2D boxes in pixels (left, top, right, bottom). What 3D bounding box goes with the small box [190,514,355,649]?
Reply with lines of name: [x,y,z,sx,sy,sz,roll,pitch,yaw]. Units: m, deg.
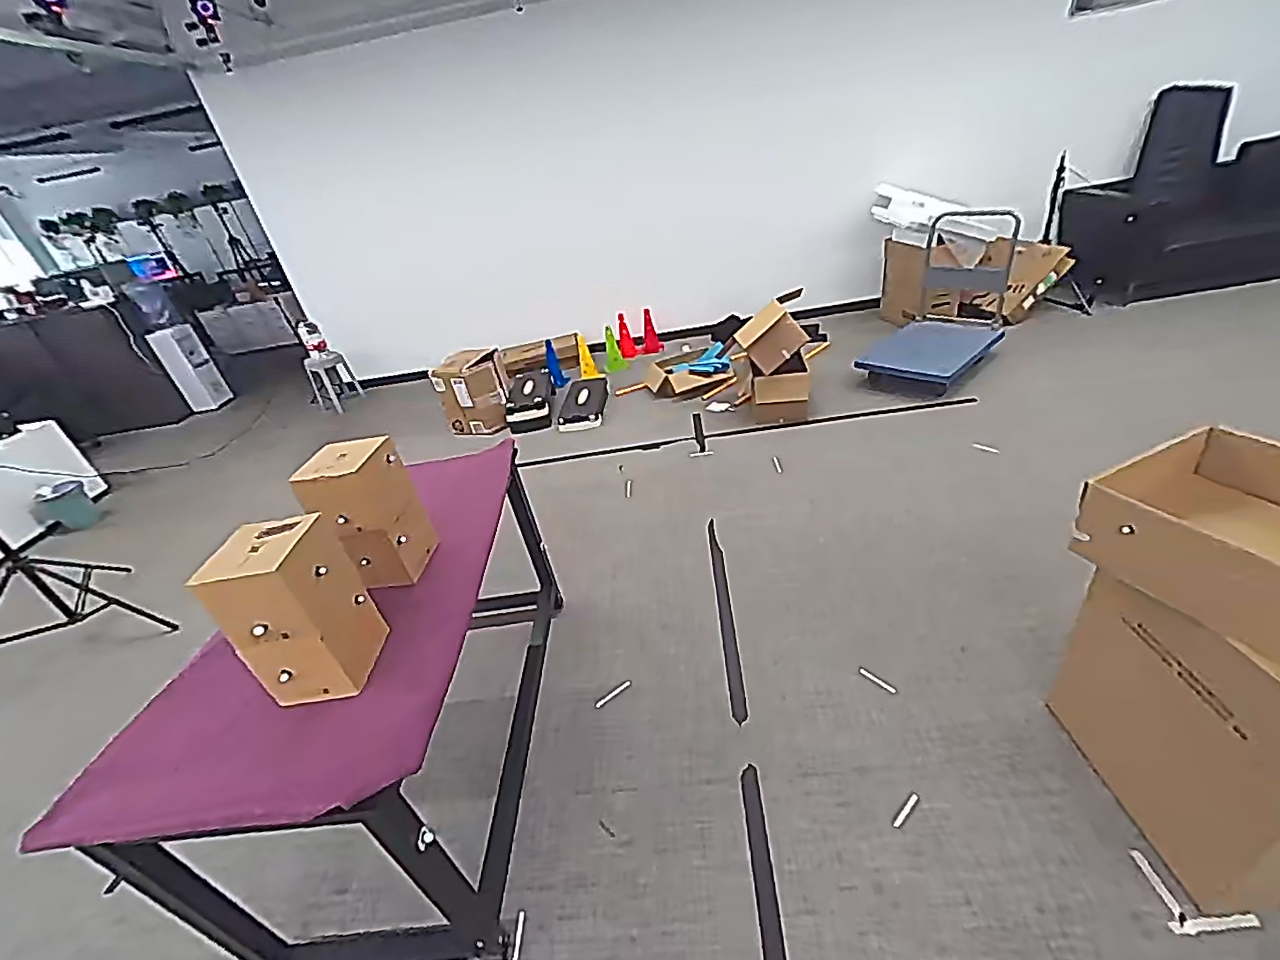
small box: [-0.673,0.190,1.022,0.168,0.176,0.179,-10,32,3]

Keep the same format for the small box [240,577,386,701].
small box: [-0.651,0.329,1.106,0.168,0.176,0.179,-10,31,2]

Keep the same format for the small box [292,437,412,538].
small box: [-0.670,0.019,1.289,0.168,0.176,0.179,-7,32,8]
